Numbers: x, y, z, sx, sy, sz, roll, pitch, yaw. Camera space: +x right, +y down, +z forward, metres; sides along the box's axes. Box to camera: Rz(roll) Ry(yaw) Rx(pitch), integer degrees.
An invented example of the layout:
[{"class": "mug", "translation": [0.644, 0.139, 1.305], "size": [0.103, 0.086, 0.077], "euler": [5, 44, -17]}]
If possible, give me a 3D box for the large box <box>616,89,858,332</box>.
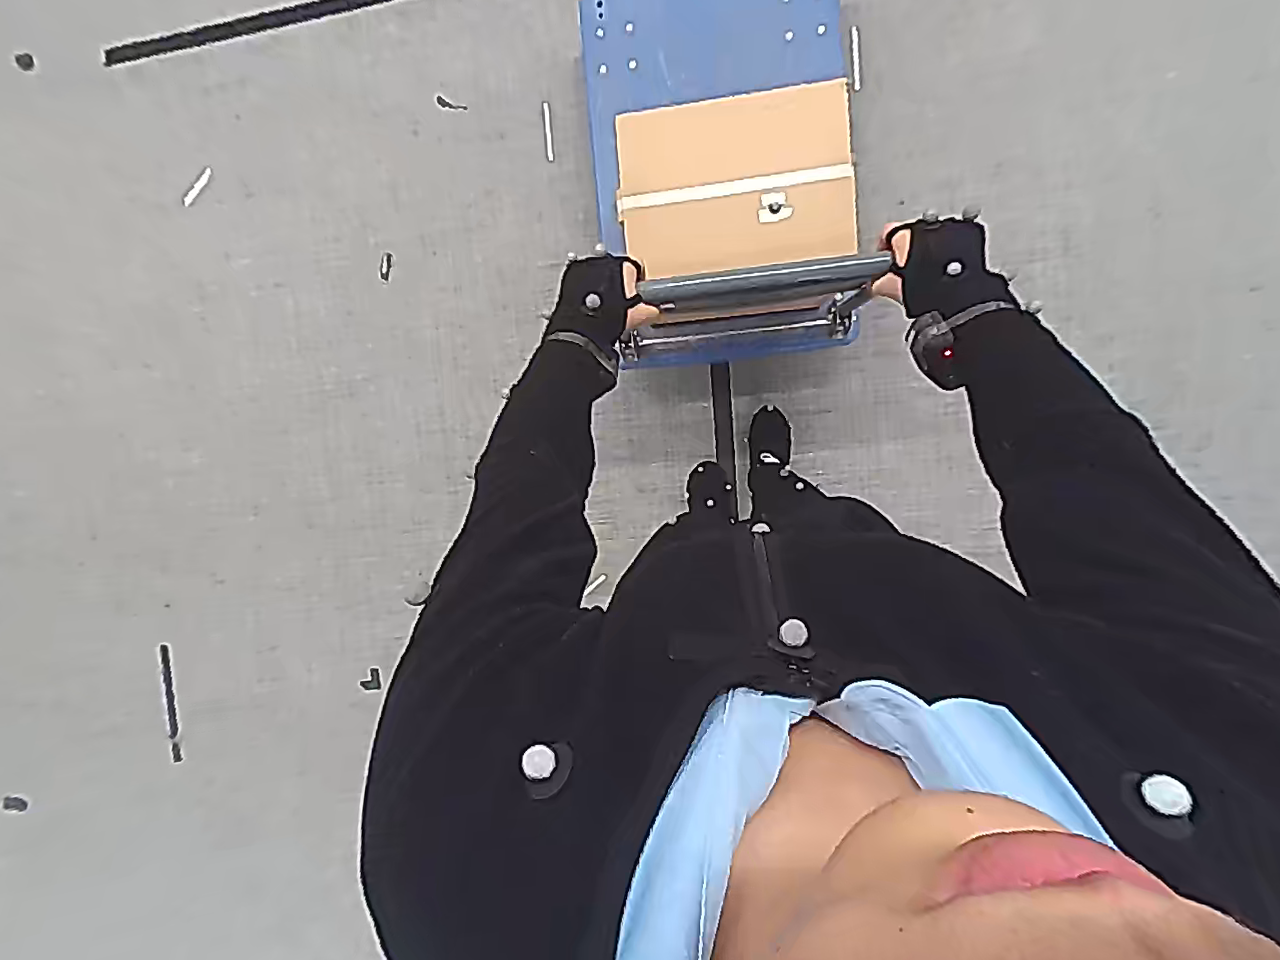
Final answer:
[{"class": "large box", "translation": [0.181, -0.504, 1.094], "size": [0.408, 0.320, 0.320], "euler": [-5, 94, 6]}]
